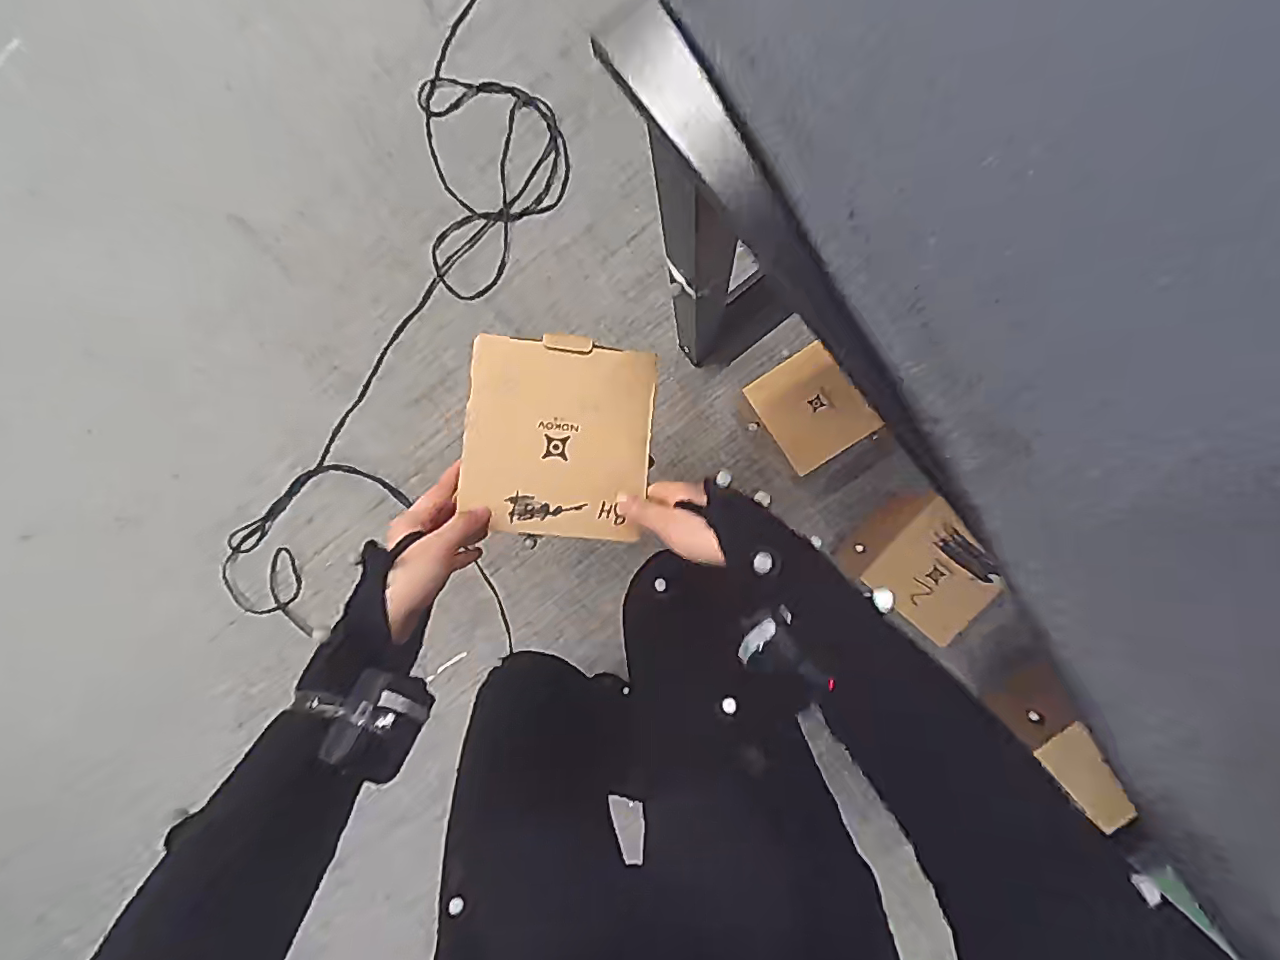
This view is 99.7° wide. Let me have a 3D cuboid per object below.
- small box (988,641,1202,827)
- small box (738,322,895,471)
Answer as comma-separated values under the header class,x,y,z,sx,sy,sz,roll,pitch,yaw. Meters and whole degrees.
class,x,y,z,sx,sy,sz,roll,pitch,yaw
small box,0.709,0.397,0.875,0.179,0.176,0.168,-43,88,6
small box,0.277,-0.127,0.899,0.179,0.176,0.168,-34,88,6
